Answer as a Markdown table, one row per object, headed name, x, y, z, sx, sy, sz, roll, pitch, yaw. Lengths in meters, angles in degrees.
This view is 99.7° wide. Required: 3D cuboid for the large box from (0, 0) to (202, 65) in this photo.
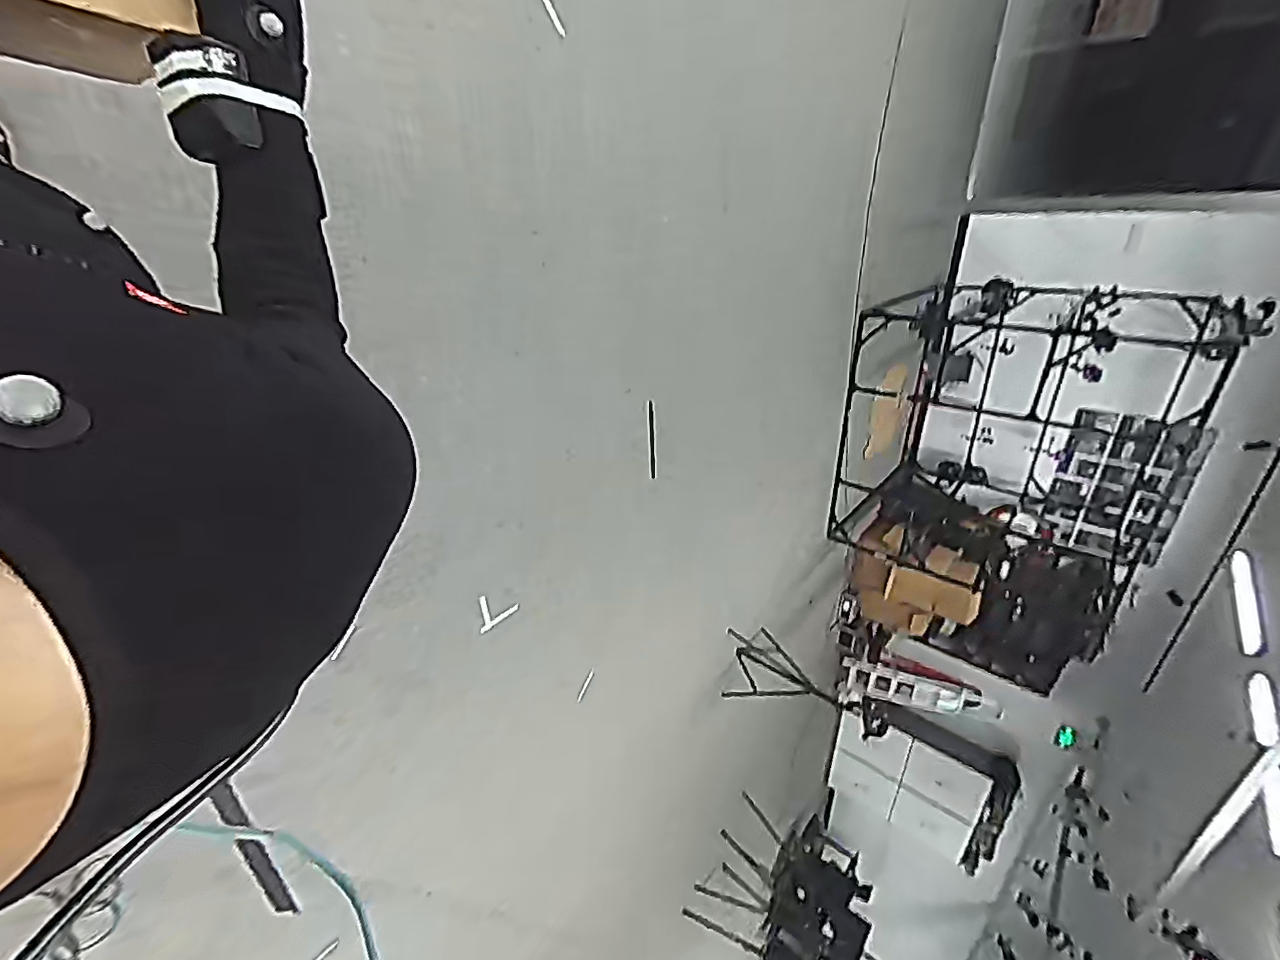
| name | x | y | z | sx | sy | sz | roll | pitch | yaw |
| --- | --- | --- | --- | --- | --- | --- | --- | --- | --- |
| large box | -0.536 | -0.466 | 0.270 | 0.408 | 0.320 | 0.320 | -19 | 124 | -45 |
